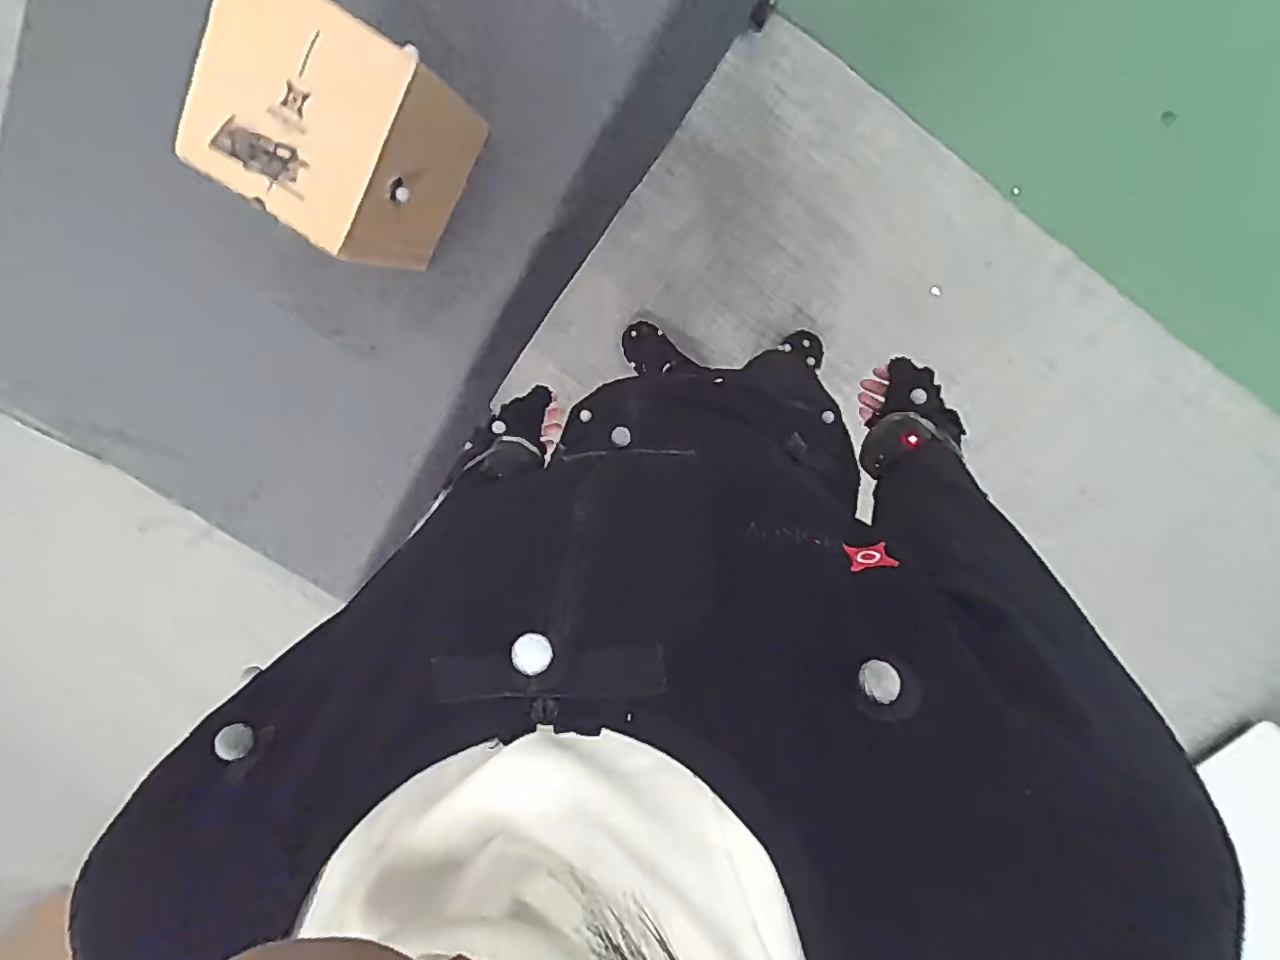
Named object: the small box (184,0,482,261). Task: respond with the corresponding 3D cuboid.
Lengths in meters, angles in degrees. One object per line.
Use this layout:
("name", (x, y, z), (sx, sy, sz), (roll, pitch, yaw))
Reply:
("small box", (-0.285, -0.341, 0.537), (0.168, 0.176, 0.179), (33, 107, -4))
